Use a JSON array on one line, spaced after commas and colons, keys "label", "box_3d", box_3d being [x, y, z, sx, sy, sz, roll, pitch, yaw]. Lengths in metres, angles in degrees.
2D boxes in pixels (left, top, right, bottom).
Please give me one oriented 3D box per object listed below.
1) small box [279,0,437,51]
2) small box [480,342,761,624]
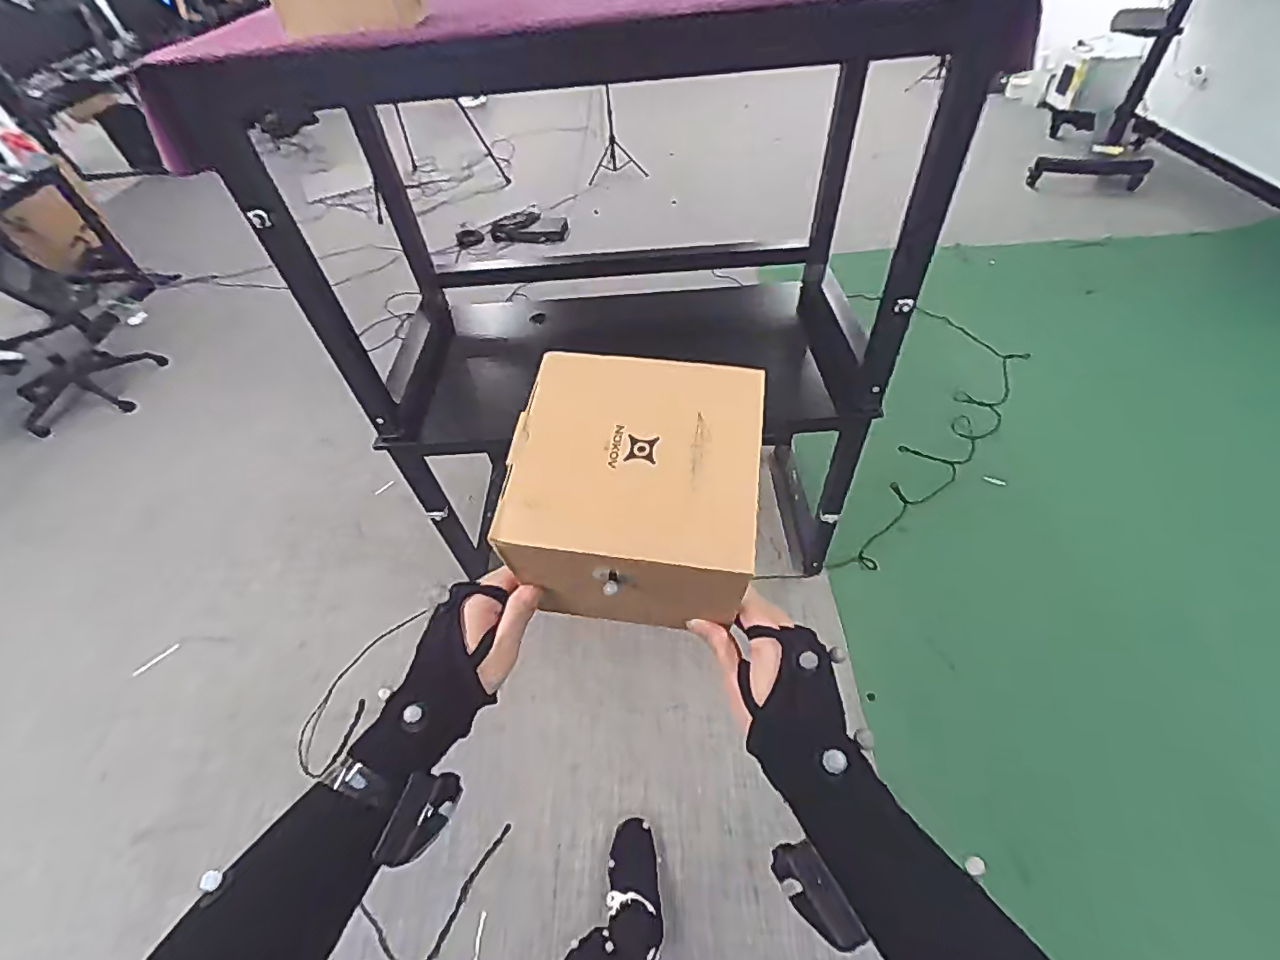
[{"label": "small box", "box_3d": [-0.419, -0.737, 0.772, 0.179, 0.176, 0.168, -5, 48, 2]}, {"label": "small box", "box_3d": [-0.003, 0.010, 0.448, 0.179, 0.176, 0.168, 7, 61, 7]}]
